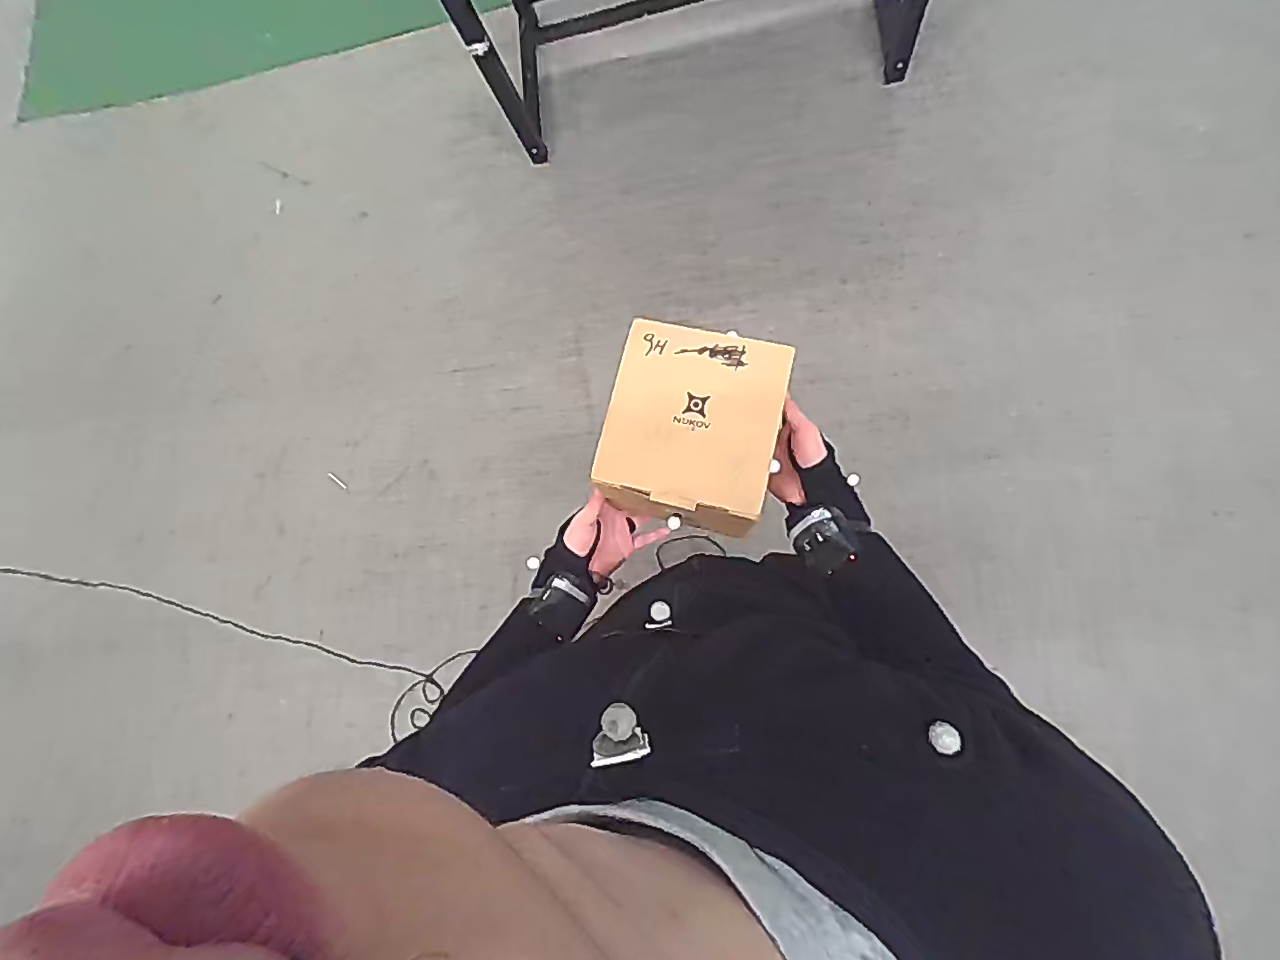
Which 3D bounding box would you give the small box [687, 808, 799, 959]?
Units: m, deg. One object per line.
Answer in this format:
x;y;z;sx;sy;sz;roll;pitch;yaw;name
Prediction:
0.229;0.886;1.206;0.179;0.176;0.168;-43;77;2;small box

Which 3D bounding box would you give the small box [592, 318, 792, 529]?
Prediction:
0.059;-0.050;0.602;0.168;0.176;0.179;13;80;8;small box
